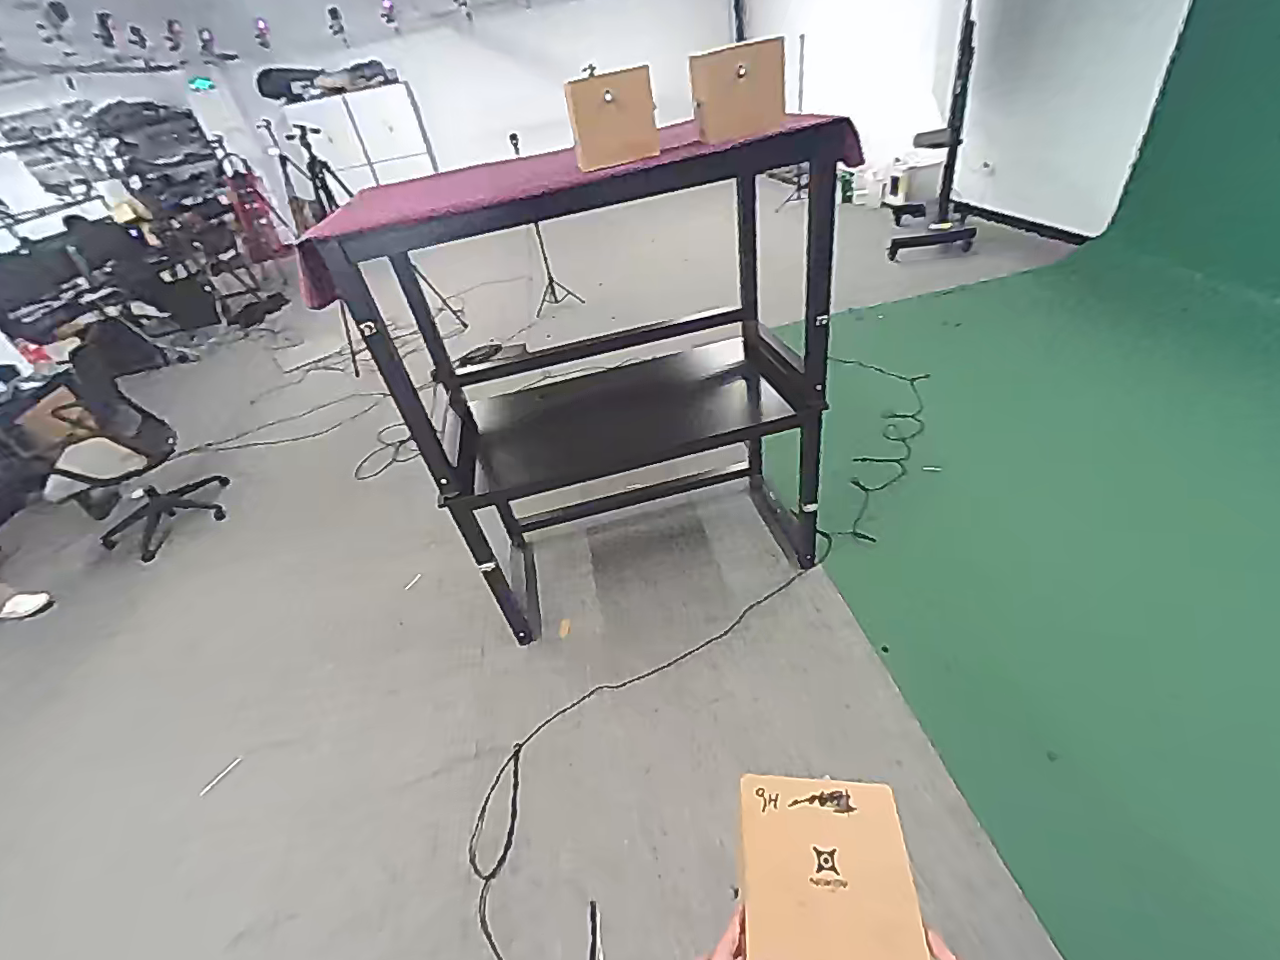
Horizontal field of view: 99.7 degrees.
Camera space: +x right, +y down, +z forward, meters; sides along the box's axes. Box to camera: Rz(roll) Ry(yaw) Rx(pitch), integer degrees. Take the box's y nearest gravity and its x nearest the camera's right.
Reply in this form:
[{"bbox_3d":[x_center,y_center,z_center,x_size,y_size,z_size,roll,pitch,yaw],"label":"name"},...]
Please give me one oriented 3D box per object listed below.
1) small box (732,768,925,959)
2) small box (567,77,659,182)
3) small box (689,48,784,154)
[{"bbox_3d":[0.190,0.446,0.597,0.168,0.176,0.179,1,42,7],"label":"small box"},{"bbox_3d":[-0.059,-0.796,1.229,0.179,0.176,0.168,-14,36,-2],"label":"small box"},{"bbox_3d":[0.221,-0.862,1.237,0.179,0.176,0.168,-12,38,0],"label":"small box"}]
